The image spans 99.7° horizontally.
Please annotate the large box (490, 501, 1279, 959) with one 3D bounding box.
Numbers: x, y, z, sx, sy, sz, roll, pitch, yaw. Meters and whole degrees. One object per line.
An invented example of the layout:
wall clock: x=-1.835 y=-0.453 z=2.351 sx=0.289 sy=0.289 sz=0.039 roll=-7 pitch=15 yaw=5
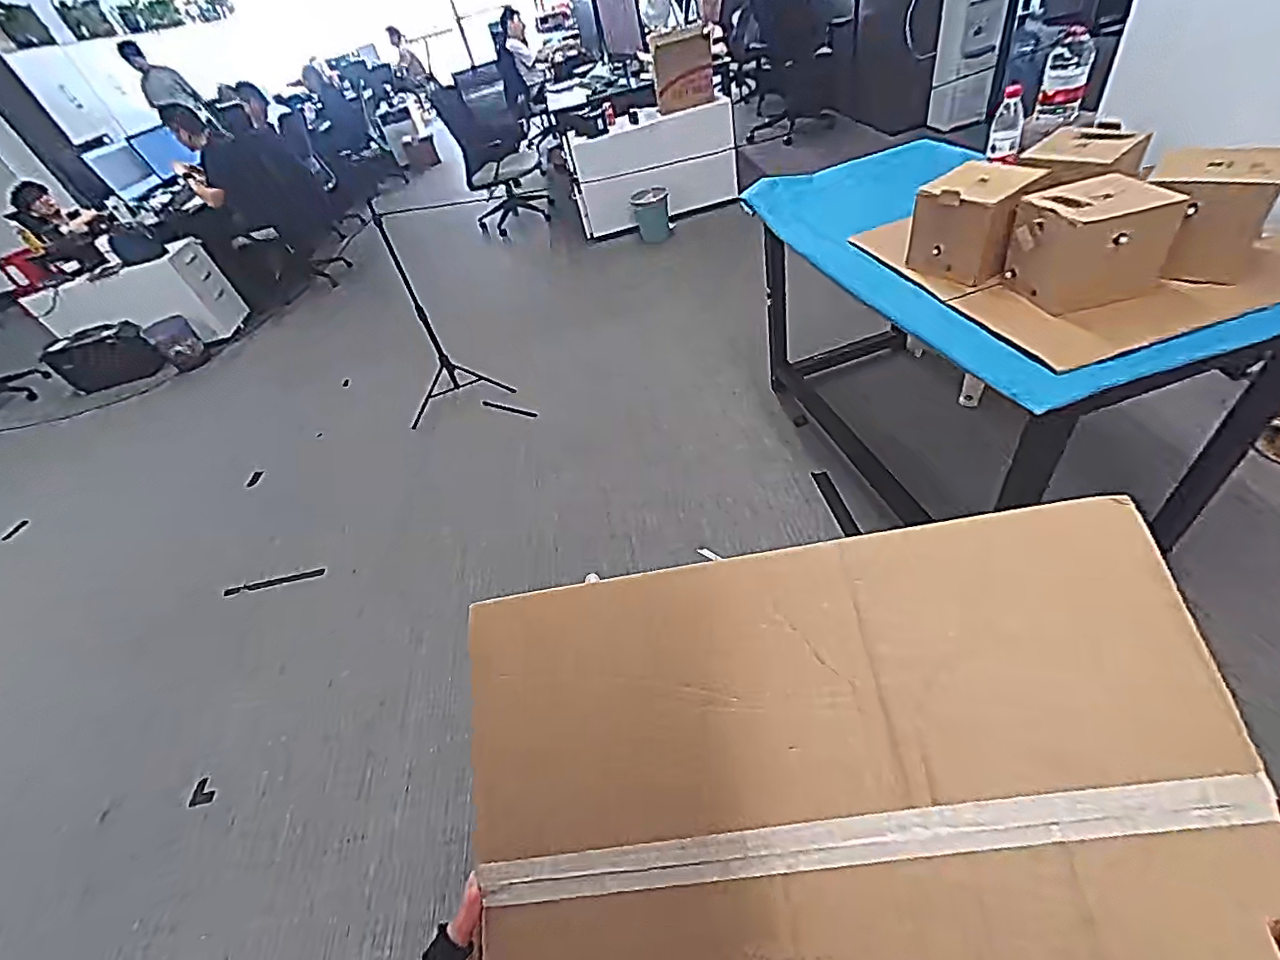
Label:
large box: x=0.136 y=0.240 z=0.431 sx=0.408 sy=0.320 sz=0.320 roll=-11 pitch=70 yaw=7
